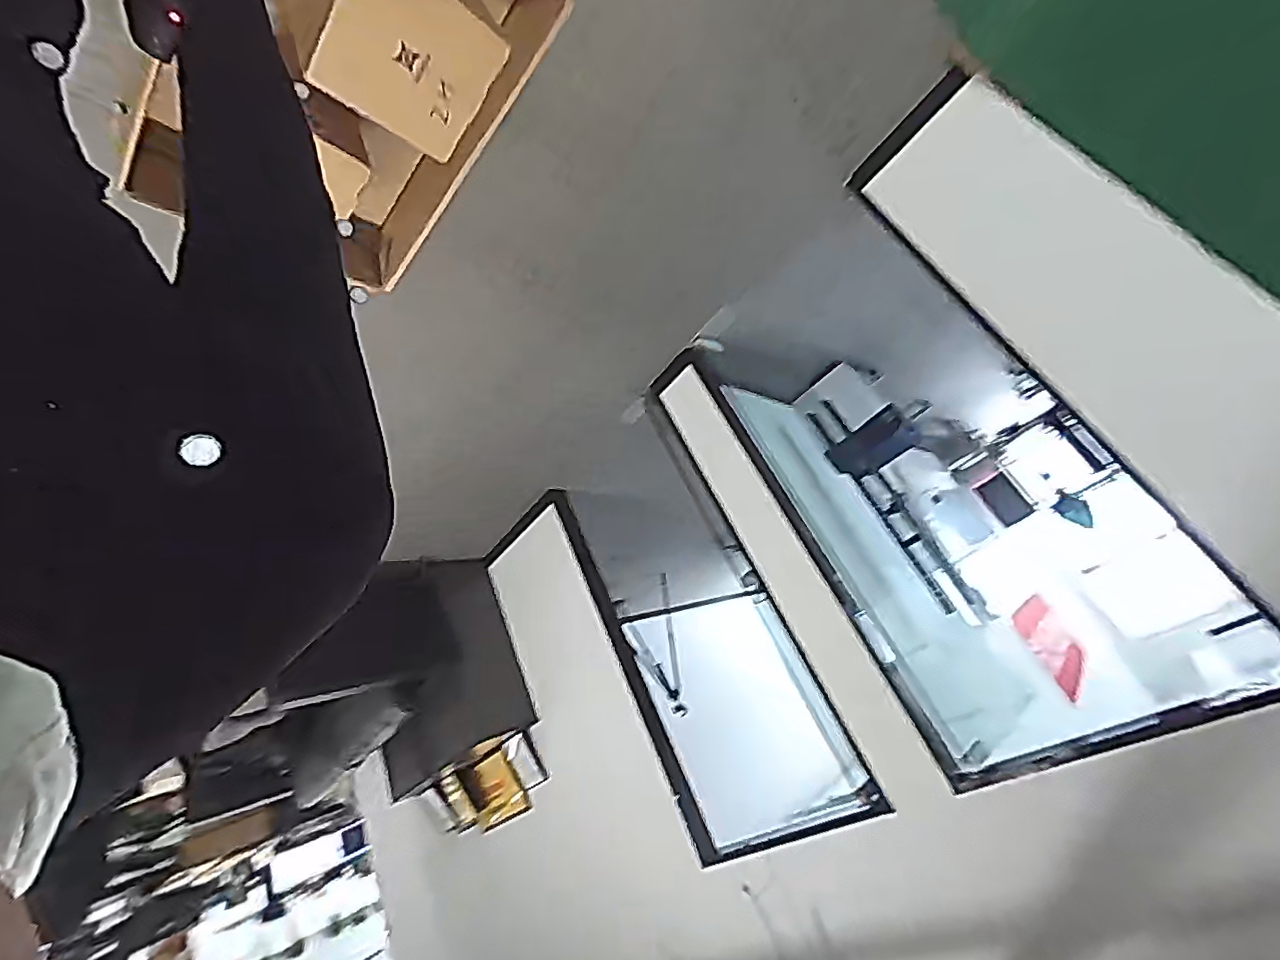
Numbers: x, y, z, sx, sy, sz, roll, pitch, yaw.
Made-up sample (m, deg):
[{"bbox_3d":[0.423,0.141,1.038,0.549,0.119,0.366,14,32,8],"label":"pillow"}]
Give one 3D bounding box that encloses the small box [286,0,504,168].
[{"bbox_3d":[-0.303,-0.538,0.658,0.168,0.176,0.179,-40,151,28],"label":"small box"}]
